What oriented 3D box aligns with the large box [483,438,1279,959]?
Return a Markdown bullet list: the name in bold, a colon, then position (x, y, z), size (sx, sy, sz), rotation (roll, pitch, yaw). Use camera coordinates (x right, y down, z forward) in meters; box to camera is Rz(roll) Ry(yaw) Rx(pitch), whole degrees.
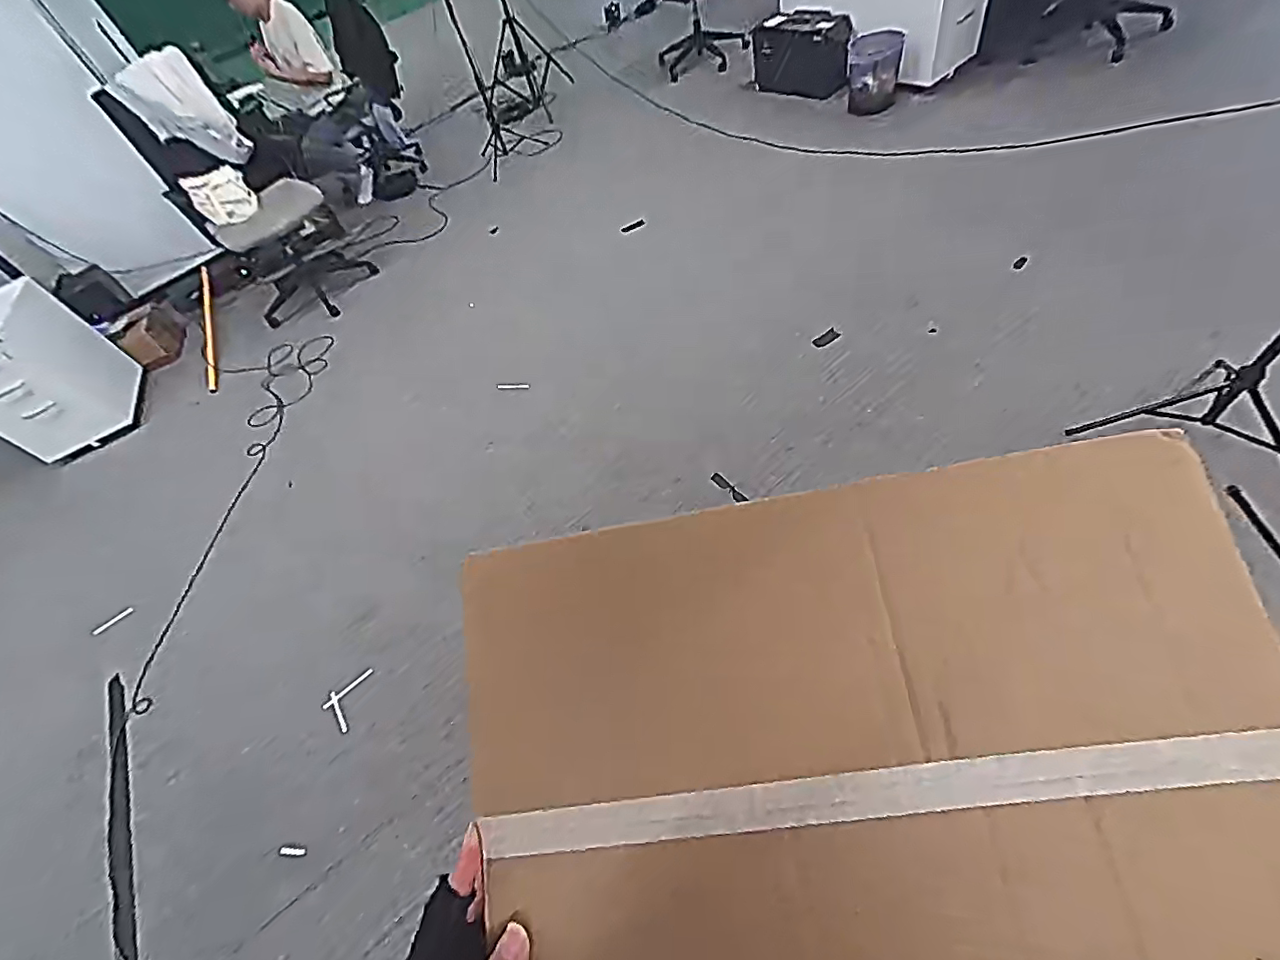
- **large box**: position (0.139, 0.195, 0.424), size (0.408, 0.320, 0.320), rotation (-11, 76, 9)
